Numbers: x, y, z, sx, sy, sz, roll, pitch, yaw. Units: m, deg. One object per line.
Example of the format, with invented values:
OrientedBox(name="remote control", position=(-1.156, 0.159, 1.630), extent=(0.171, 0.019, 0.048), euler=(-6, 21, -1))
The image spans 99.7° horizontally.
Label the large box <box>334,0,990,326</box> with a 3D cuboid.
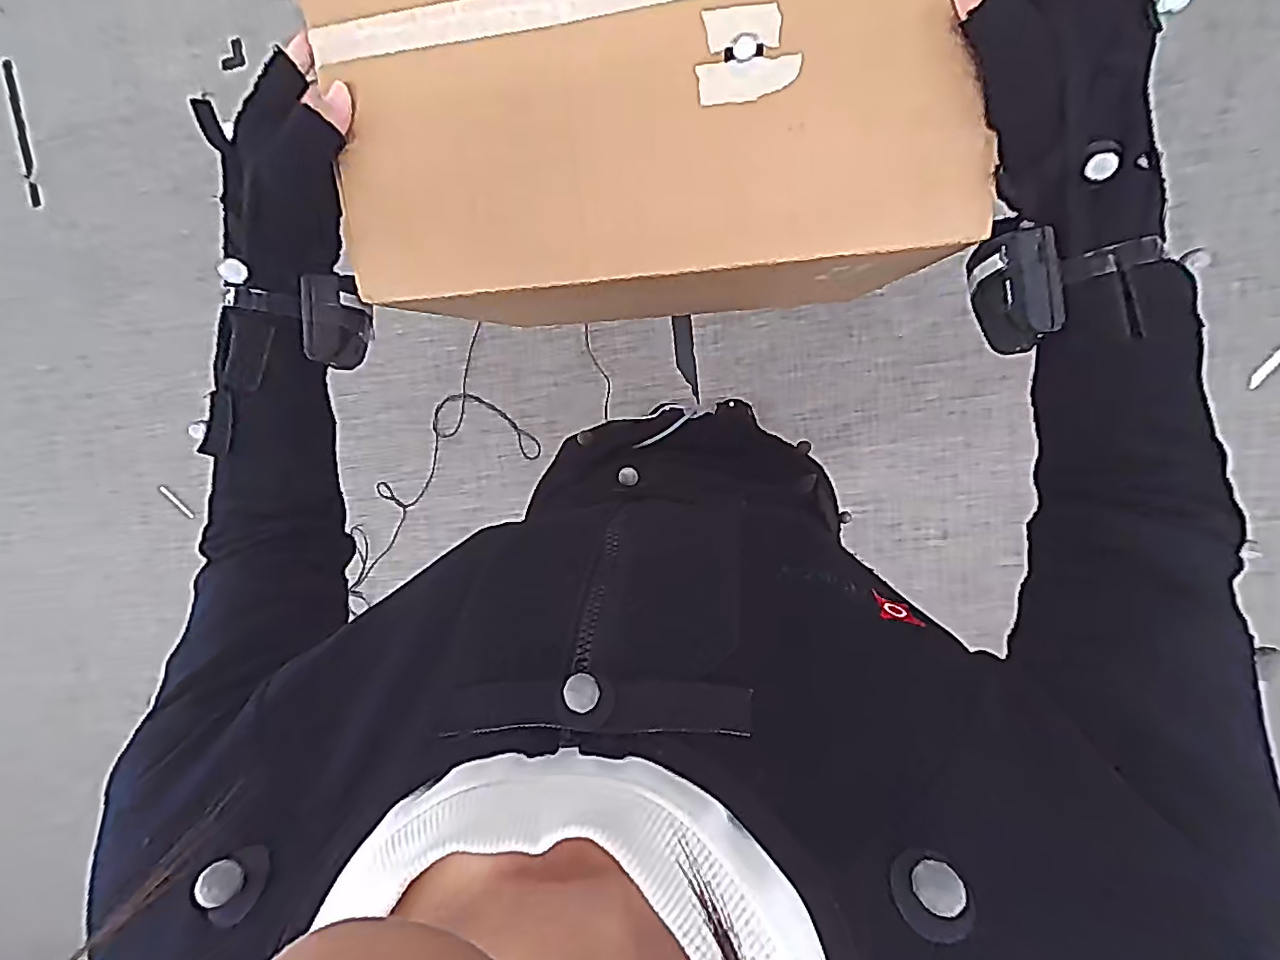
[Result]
OrientedBox(name="large box", position=(0.017, -0.323, 0.471), extent=(0.408, 0.320, 0.320), euler=(-3, 103, 8))
